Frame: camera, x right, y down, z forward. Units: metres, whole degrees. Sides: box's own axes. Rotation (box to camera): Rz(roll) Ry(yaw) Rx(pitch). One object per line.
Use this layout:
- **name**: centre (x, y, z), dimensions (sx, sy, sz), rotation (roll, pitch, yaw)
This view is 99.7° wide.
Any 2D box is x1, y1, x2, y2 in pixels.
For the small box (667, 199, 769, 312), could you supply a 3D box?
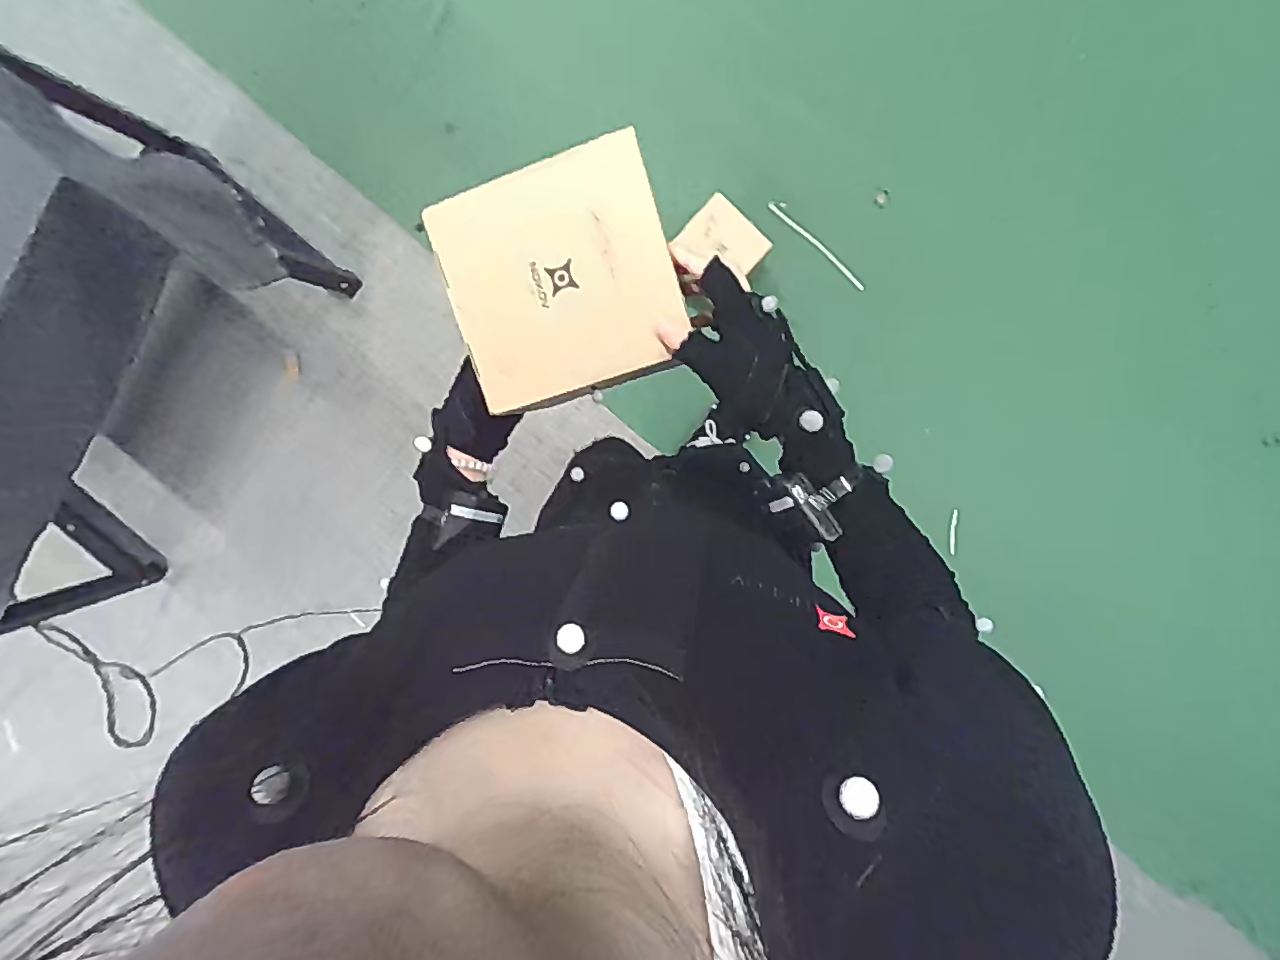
- **small box**: centre (0.187, -0.531, 1.312), dimensions (0.179, 0.176, 0.168), rotation (44, 99, 0)
